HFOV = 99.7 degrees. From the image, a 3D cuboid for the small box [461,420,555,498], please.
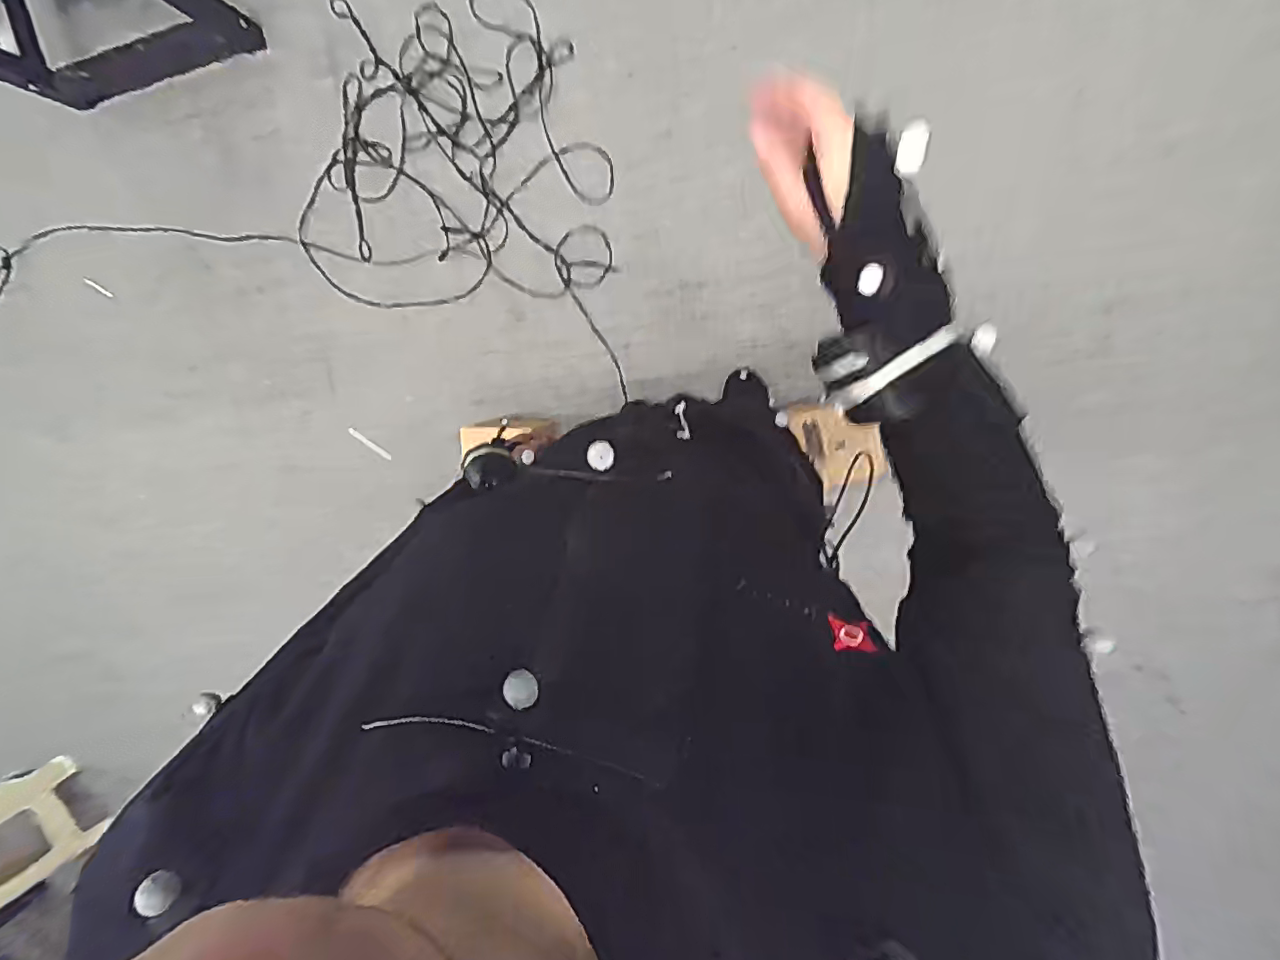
[{"bbox_3d":[-0.317,-0.057,1.326,0.179,0.176,0.168,2,102,7],"label":"small box"}]
